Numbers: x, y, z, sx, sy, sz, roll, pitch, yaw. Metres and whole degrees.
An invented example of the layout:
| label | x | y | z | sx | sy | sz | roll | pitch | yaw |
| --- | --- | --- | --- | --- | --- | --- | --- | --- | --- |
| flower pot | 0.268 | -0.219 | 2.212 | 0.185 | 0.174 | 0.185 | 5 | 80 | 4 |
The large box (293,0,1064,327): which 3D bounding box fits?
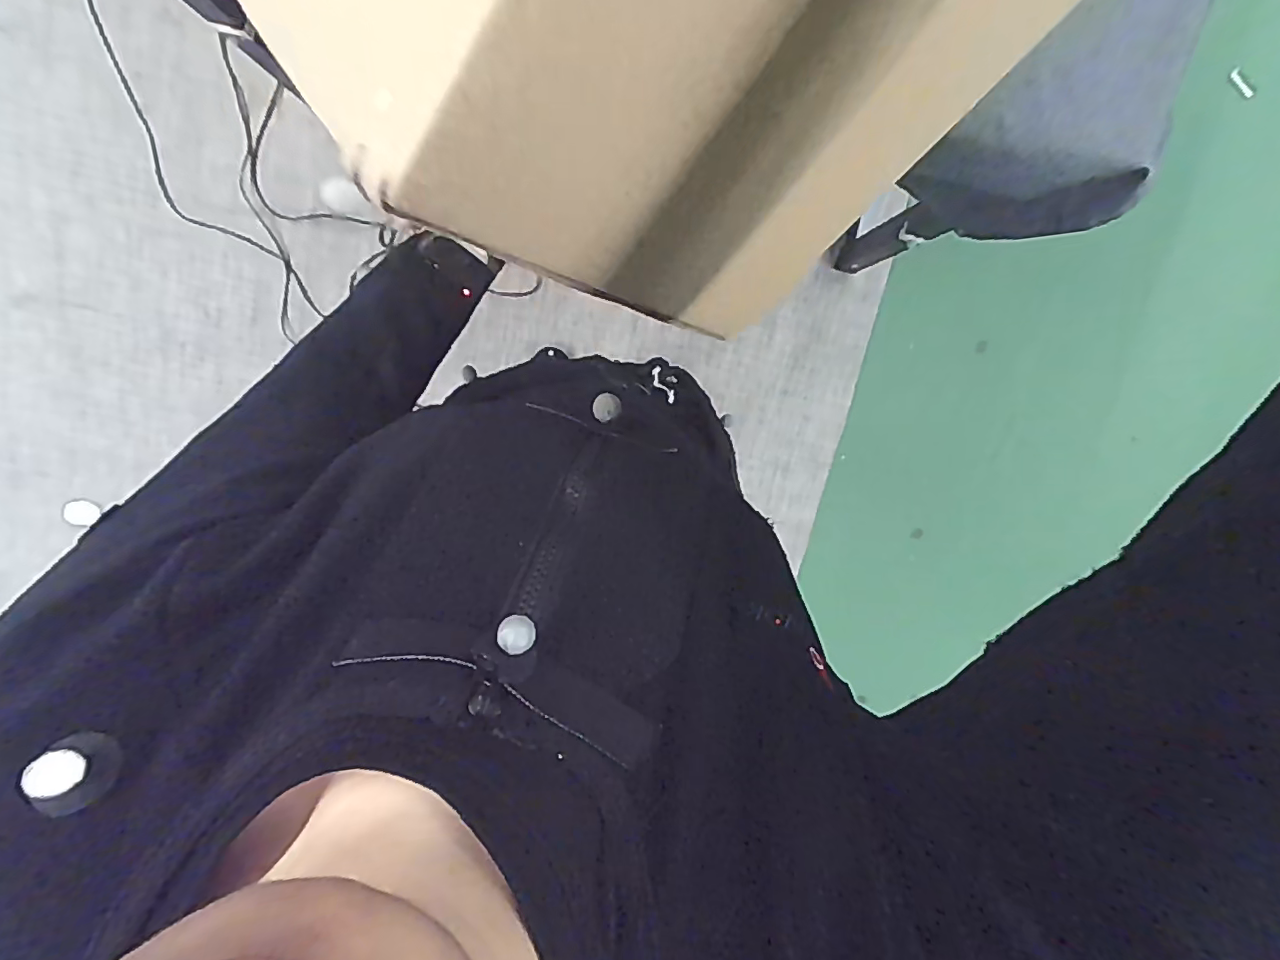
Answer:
| label | x | y | z | sx | sy | sz | roll | pitch | yaw |
| --- | --- | --- | --- | --- | --- | --- | --- | --- | --- |
| large box | 0.053 | -0.347 | 0.271 | 0.408 | 0.320 | 0.320 | -45 | 72 | 27 |
